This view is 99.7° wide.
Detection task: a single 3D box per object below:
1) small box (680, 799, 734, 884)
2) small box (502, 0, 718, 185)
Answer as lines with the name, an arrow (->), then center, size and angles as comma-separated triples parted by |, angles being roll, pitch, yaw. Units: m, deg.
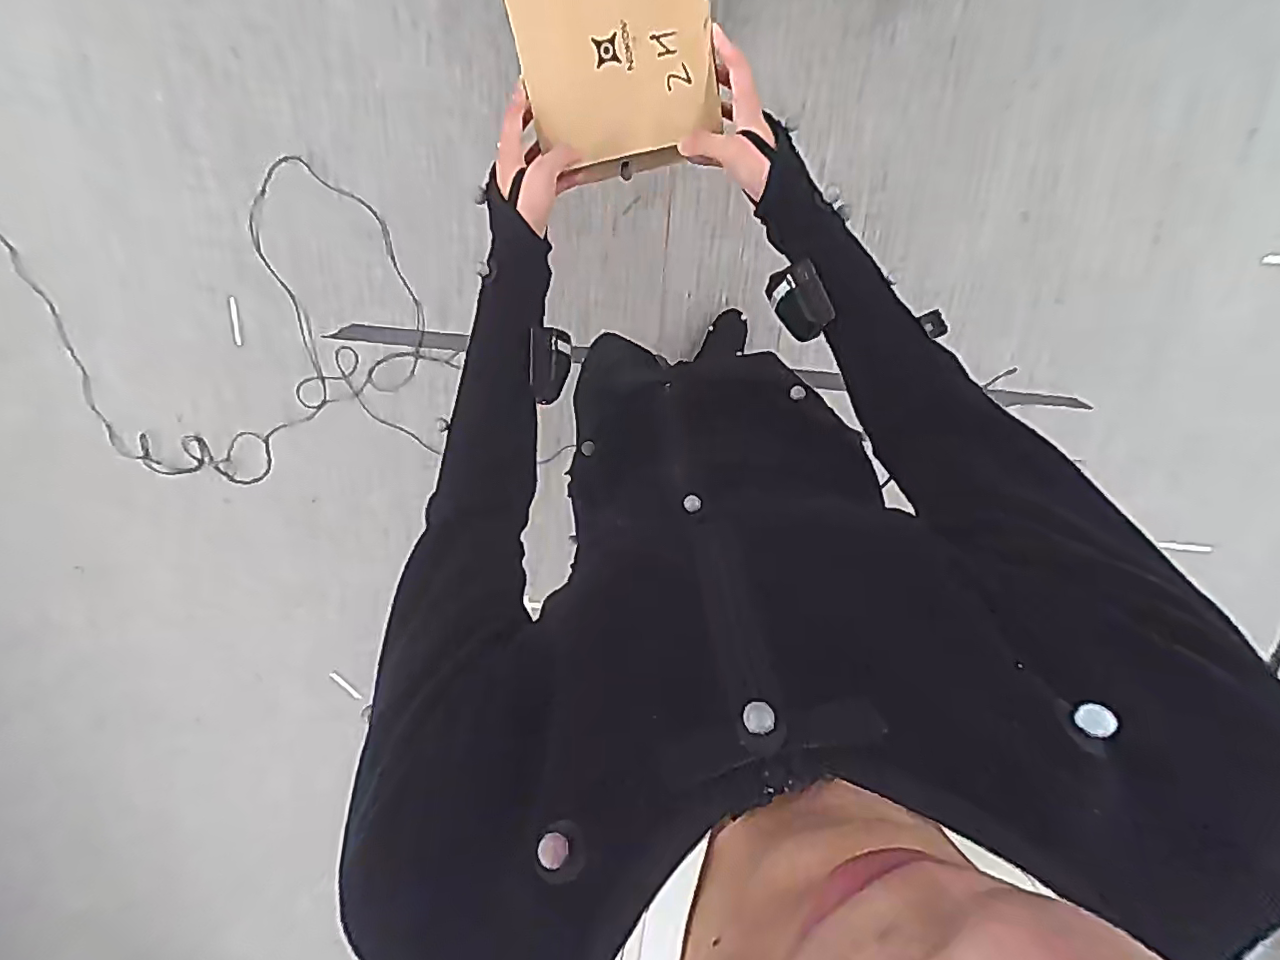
small box -> 0.223, 1.225, 1.836 | 0.168, 0.176, 0.179 | 1, 108, 2
small box -> -0.025, -0.415, 0.556 | 0.179, 0.176, 0.168 | -10, 114, 3
